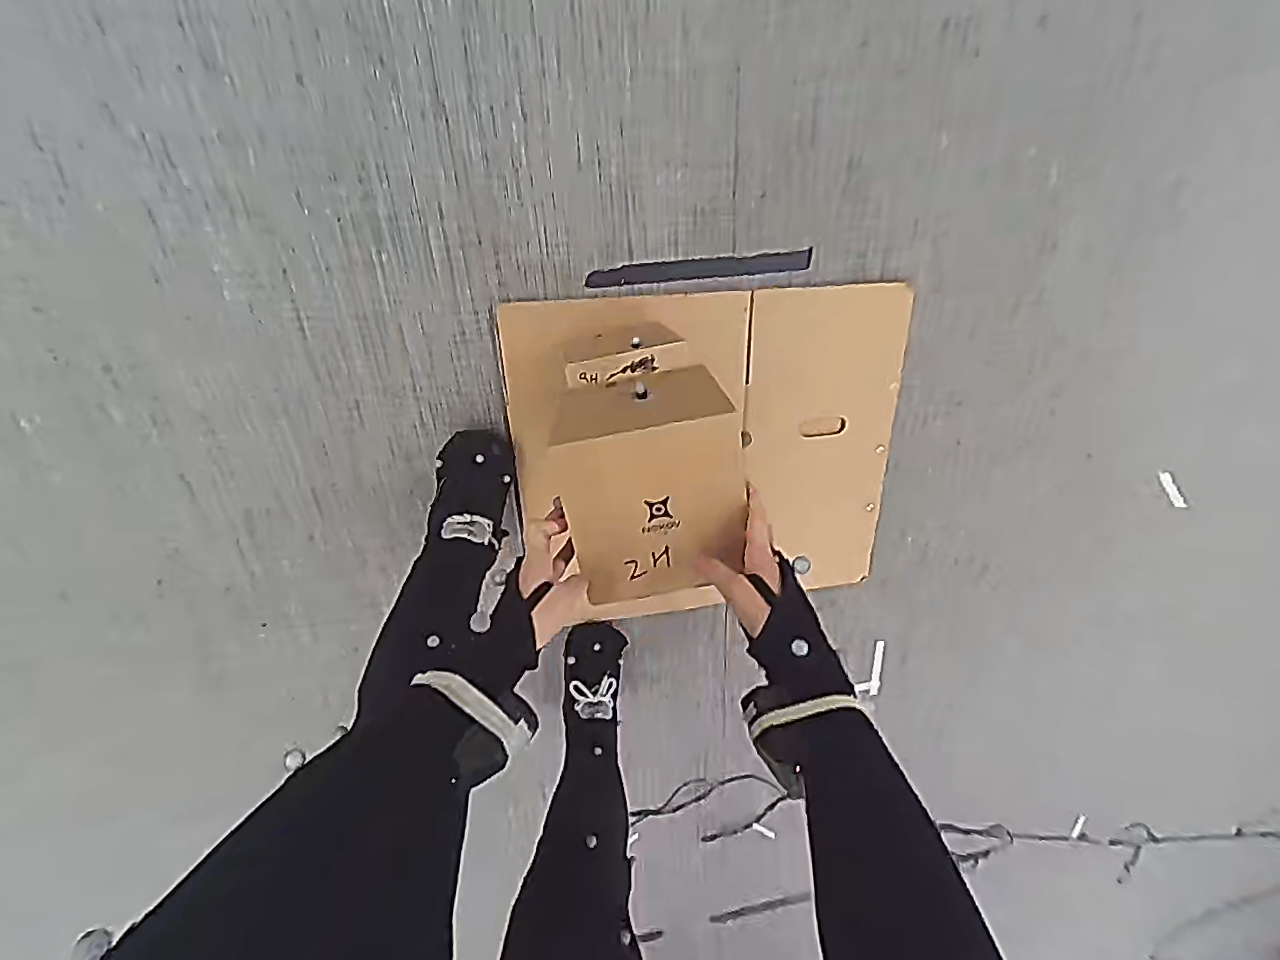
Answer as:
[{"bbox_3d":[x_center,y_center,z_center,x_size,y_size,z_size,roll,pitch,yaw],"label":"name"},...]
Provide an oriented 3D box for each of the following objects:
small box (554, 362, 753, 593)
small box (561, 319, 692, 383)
[{"bbox_3d":[0.011,-0.015,0.563,0.168,0.176,0.179,-11,117,0],"label":"small box"},{"bbox_3d":[-0.017,-0.125,0.801,0.168,0.176,0.179,-13,117,-6],"label":"small box"}]
